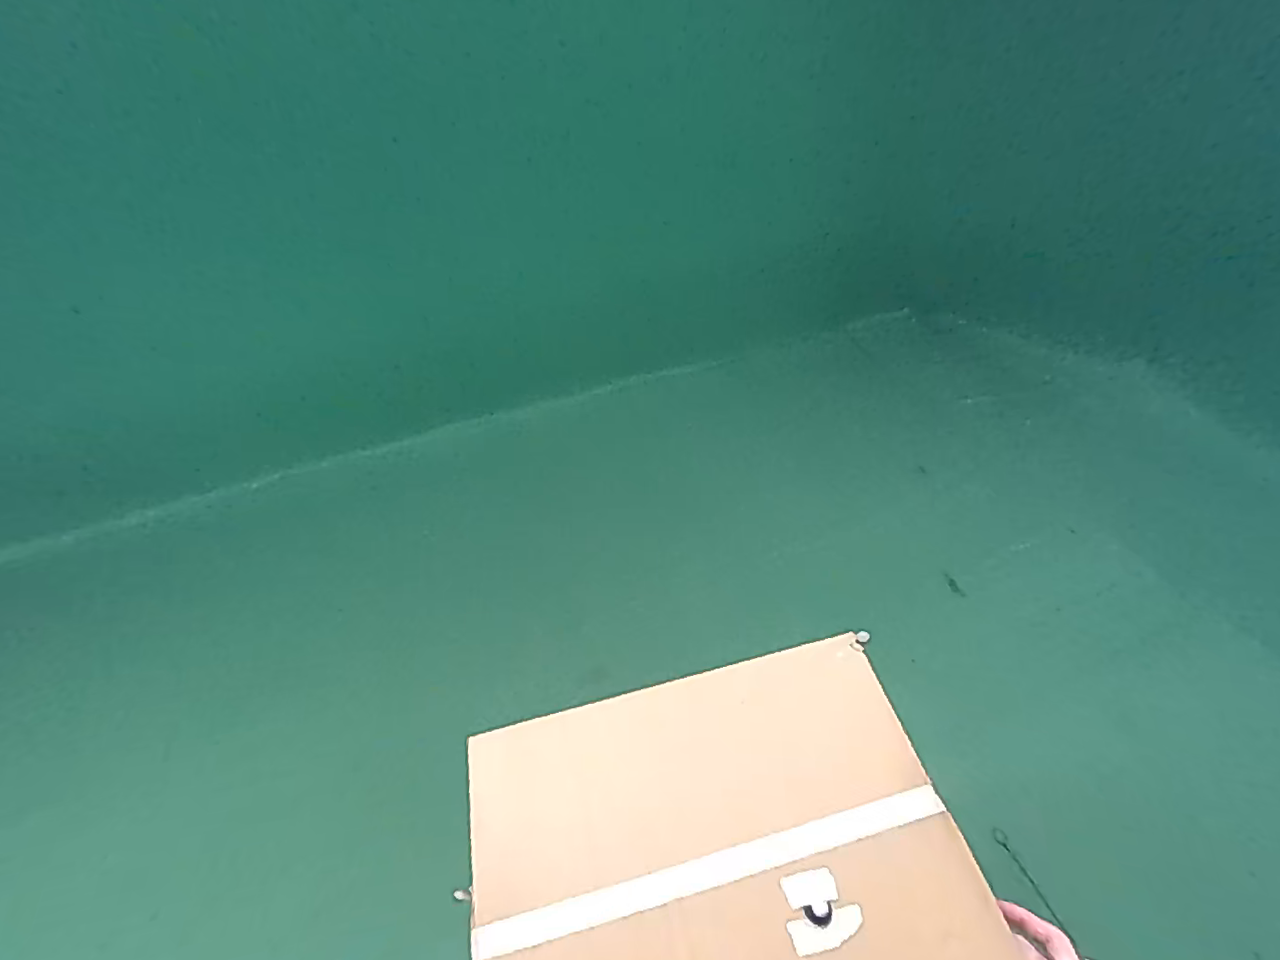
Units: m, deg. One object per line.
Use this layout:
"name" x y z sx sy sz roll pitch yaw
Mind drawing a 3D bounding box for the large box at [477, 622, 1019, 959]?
"large box" 0.073 0.405 0.588 0.408 0.320 0.320 -13 54 -6
